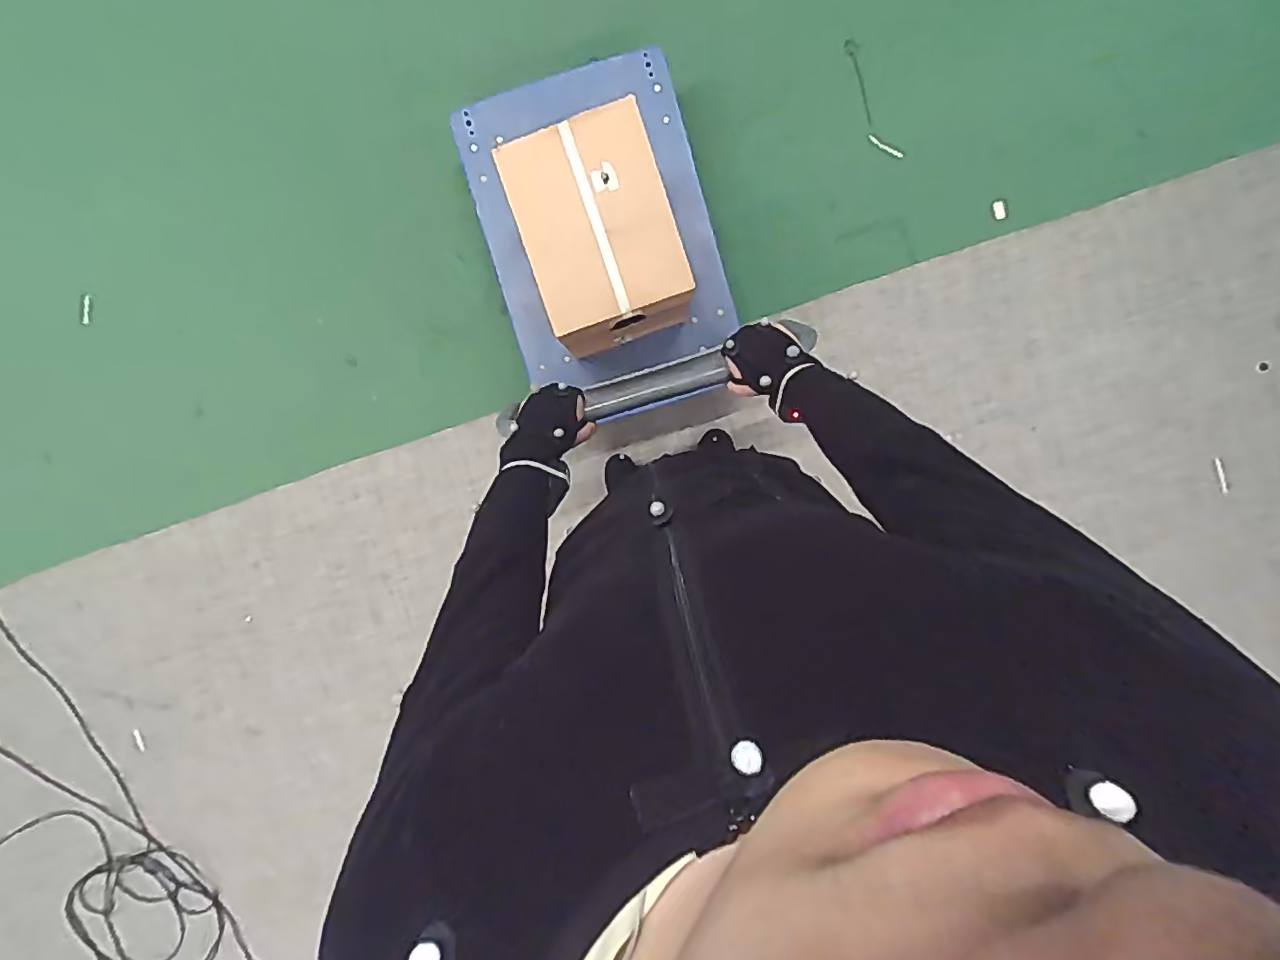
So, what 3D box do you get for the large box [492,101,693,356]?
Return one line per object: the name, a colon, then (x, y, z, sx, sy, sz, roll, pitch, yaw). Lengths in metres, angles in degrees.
large box: (-0.091, -0.550, 1.268, 0.320, 0.320, 0.408, -19, 94, 3)
